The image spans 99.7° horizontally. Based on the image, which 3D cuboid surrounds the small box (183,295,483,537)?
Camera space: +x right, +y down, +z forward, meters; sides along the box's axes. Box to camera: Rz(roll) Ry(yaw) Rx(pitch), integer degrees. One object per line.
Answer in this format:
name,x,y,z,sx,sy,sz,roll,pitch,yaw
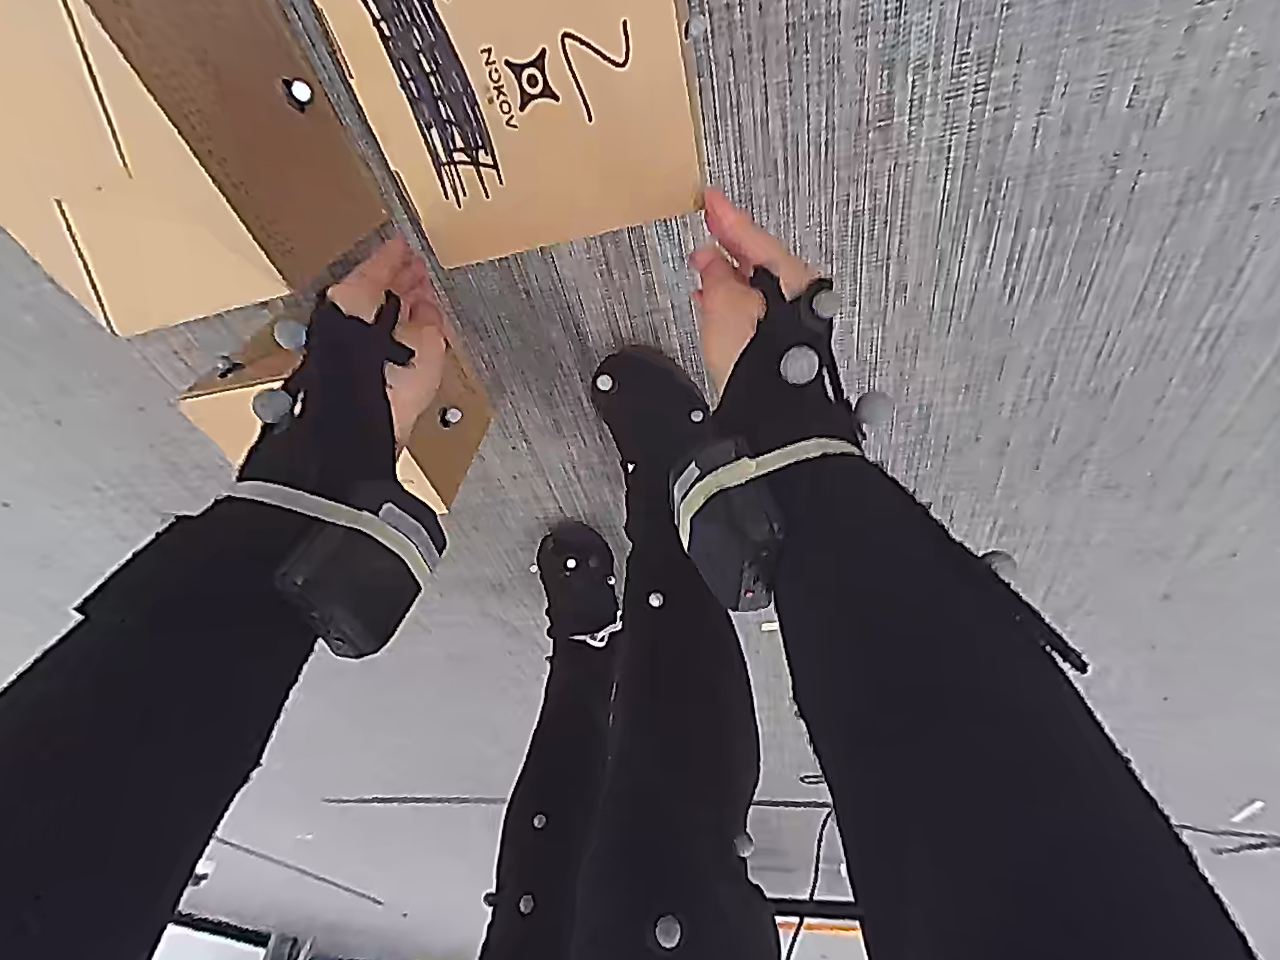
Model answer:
small box,-0.277,-0.066,0.543,0.179,0.176,0.168,-7,131,12
